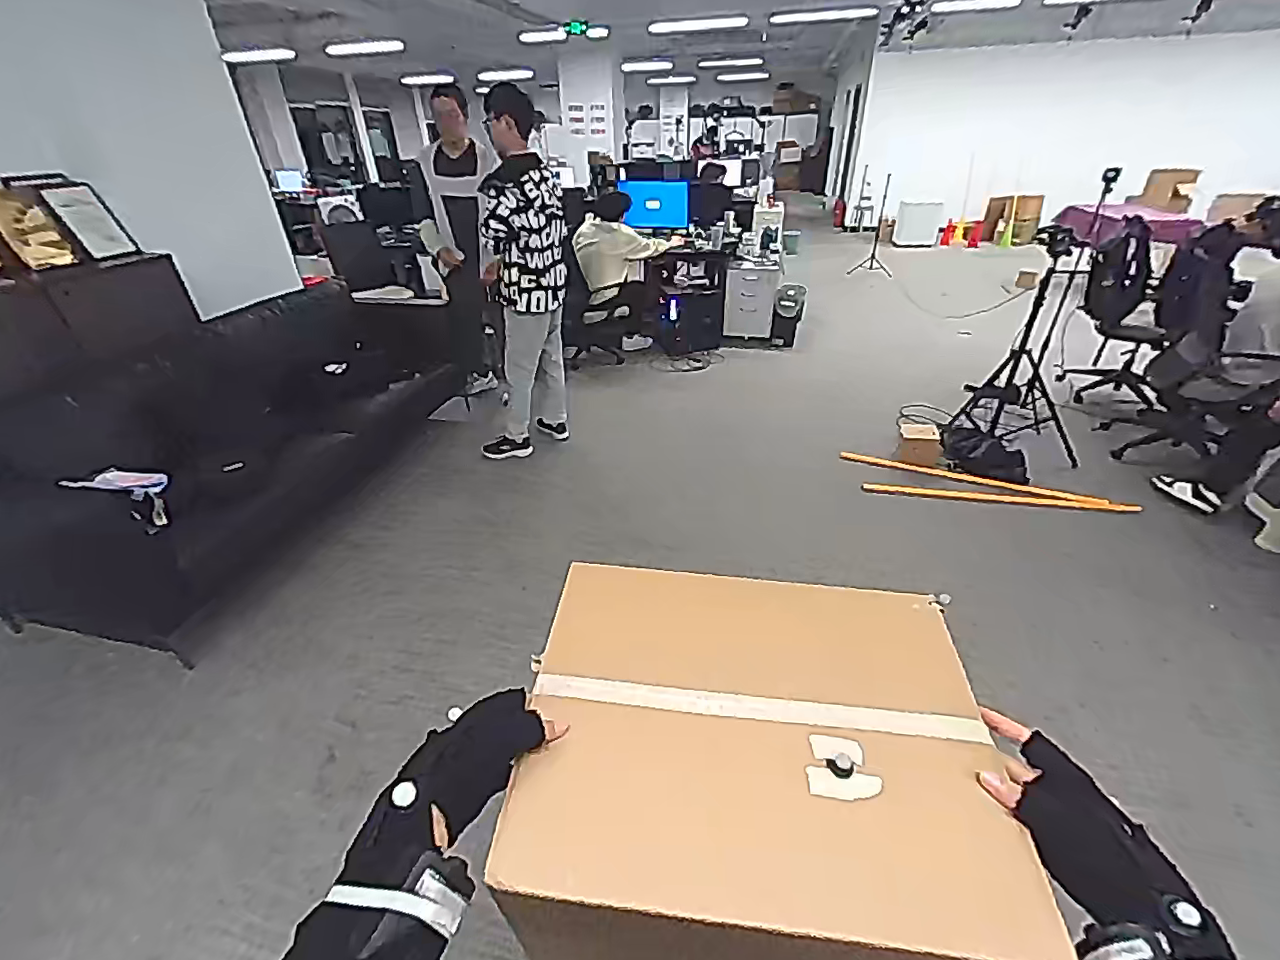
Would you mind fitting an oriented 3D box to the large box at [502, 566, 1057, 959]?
[{"bbox_3d":[0.102,0.324,0.590,0.408,0.320,0.320,5,39,4],"label":"large box"}]
